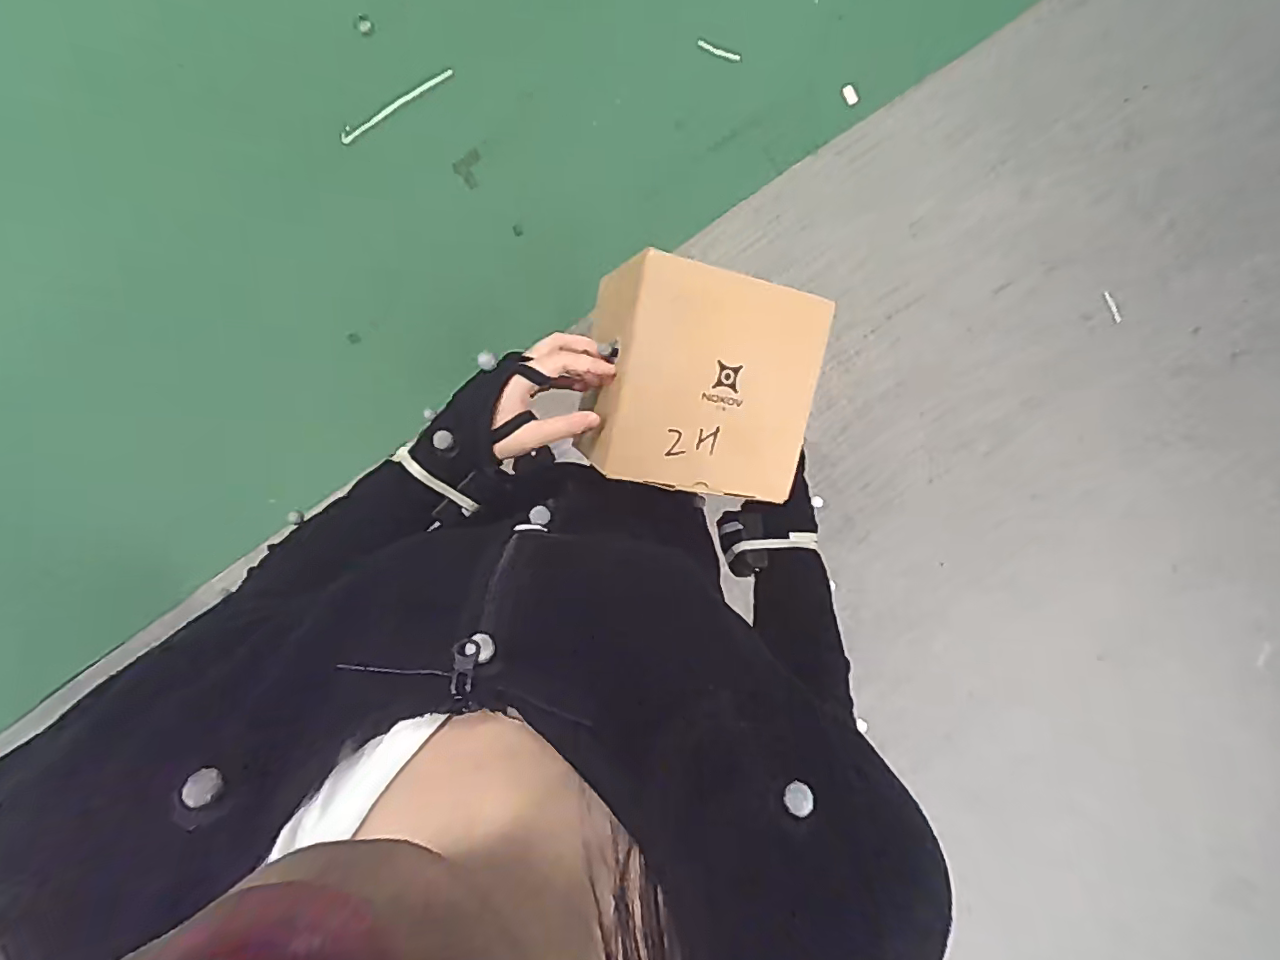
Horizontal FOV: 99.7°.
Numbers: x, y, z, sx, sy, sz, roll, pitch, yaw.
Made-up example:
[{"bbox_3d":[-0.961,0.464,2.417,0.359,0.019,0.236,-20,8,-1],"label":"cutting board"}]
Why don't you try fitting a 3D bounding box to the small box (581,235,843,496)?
[{"bbox_3d":[0.050,-0.096,0.498,0.168,0.176,0.179,8,99,-19],"label":"small box"}]
